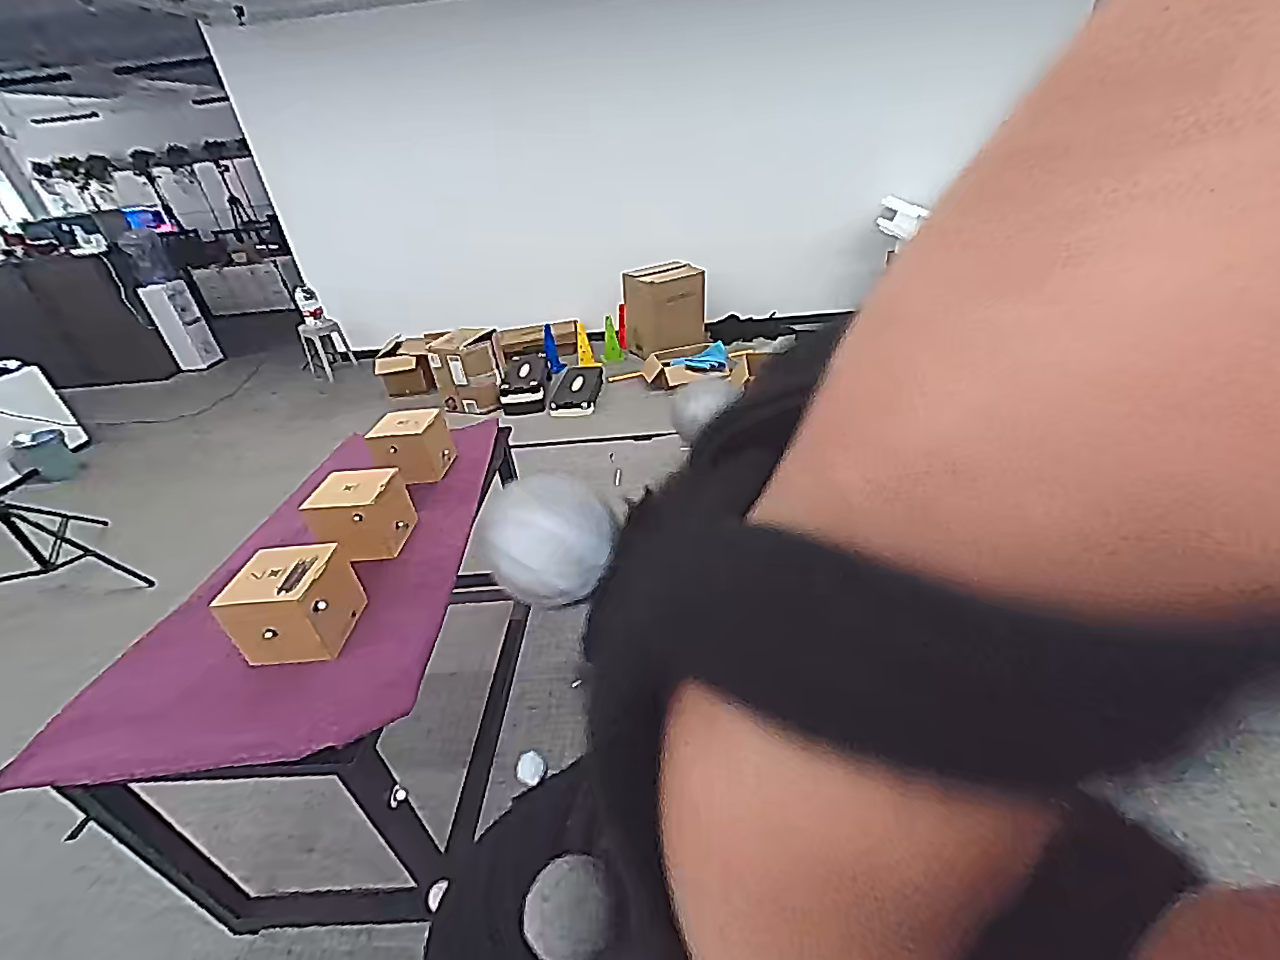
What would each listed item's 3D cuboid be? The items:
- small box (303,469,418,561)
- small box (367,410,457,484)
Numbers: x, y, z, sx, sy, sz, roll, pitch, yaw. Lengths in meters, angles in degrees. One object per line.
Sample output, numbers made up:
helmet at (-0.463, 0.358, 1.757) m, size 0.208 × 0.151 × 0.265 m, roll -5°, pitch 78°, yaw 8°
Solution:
small box at (-0.693, 0.090, 1.361) m, size 0.179 × 0.176 × 0.168 m, roll -4°, pitch 32°, yaw 3°
small box at (-0.686, -0.096, 1.645) m, size 0.179 × 0.176 × 0.168 m, roll -4°, pitch 33°, yaw 6°
